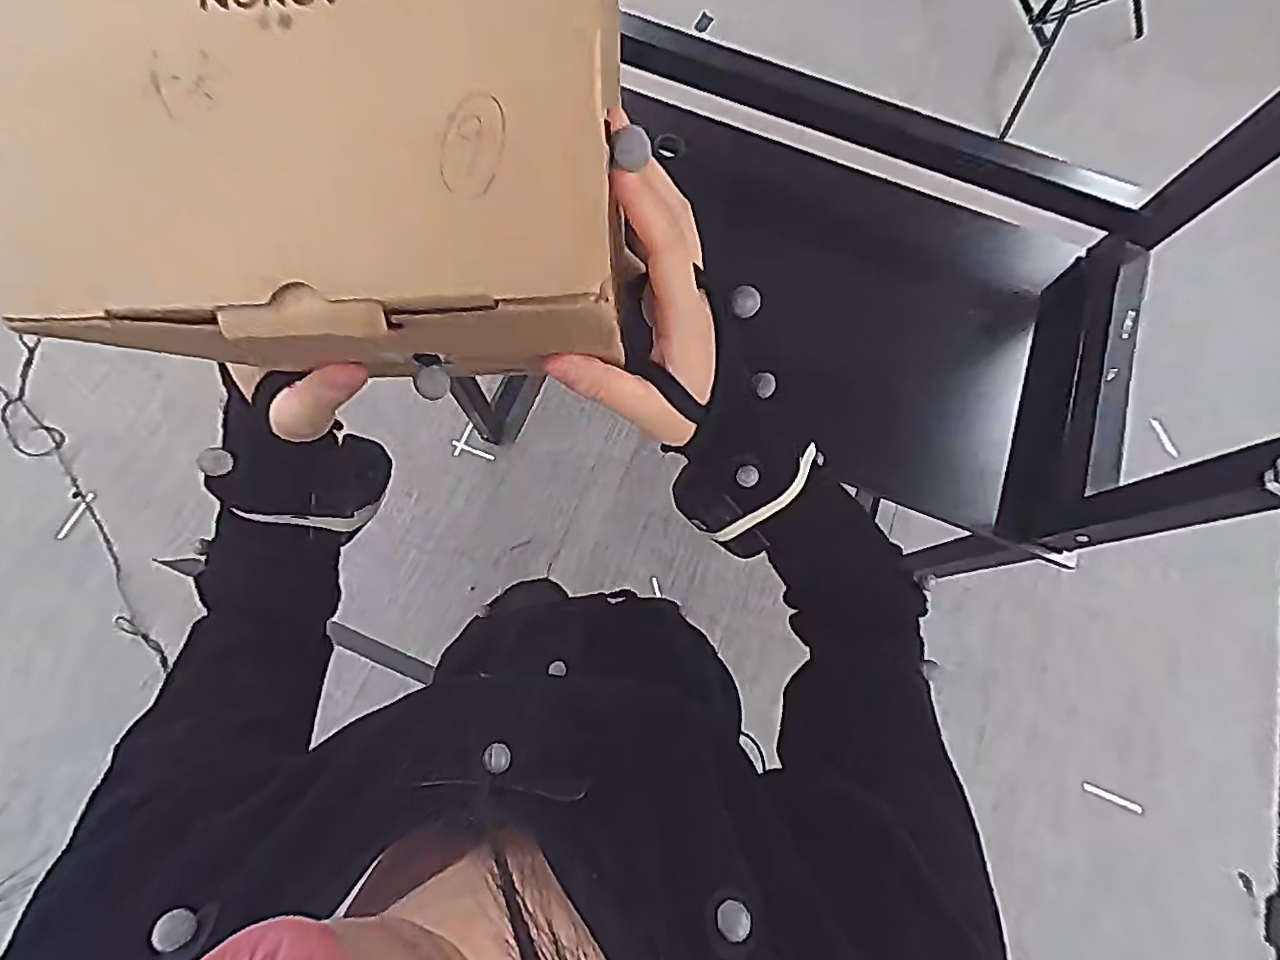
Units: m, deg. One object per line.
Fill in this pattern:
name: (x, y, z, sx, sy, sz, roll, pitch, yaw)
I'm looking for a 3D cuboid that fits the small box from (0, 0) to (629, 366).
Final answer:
small box: (-0.088, -0.137, 0.204, 0.168, 0.176, 0.179, -2, 97, -2)
